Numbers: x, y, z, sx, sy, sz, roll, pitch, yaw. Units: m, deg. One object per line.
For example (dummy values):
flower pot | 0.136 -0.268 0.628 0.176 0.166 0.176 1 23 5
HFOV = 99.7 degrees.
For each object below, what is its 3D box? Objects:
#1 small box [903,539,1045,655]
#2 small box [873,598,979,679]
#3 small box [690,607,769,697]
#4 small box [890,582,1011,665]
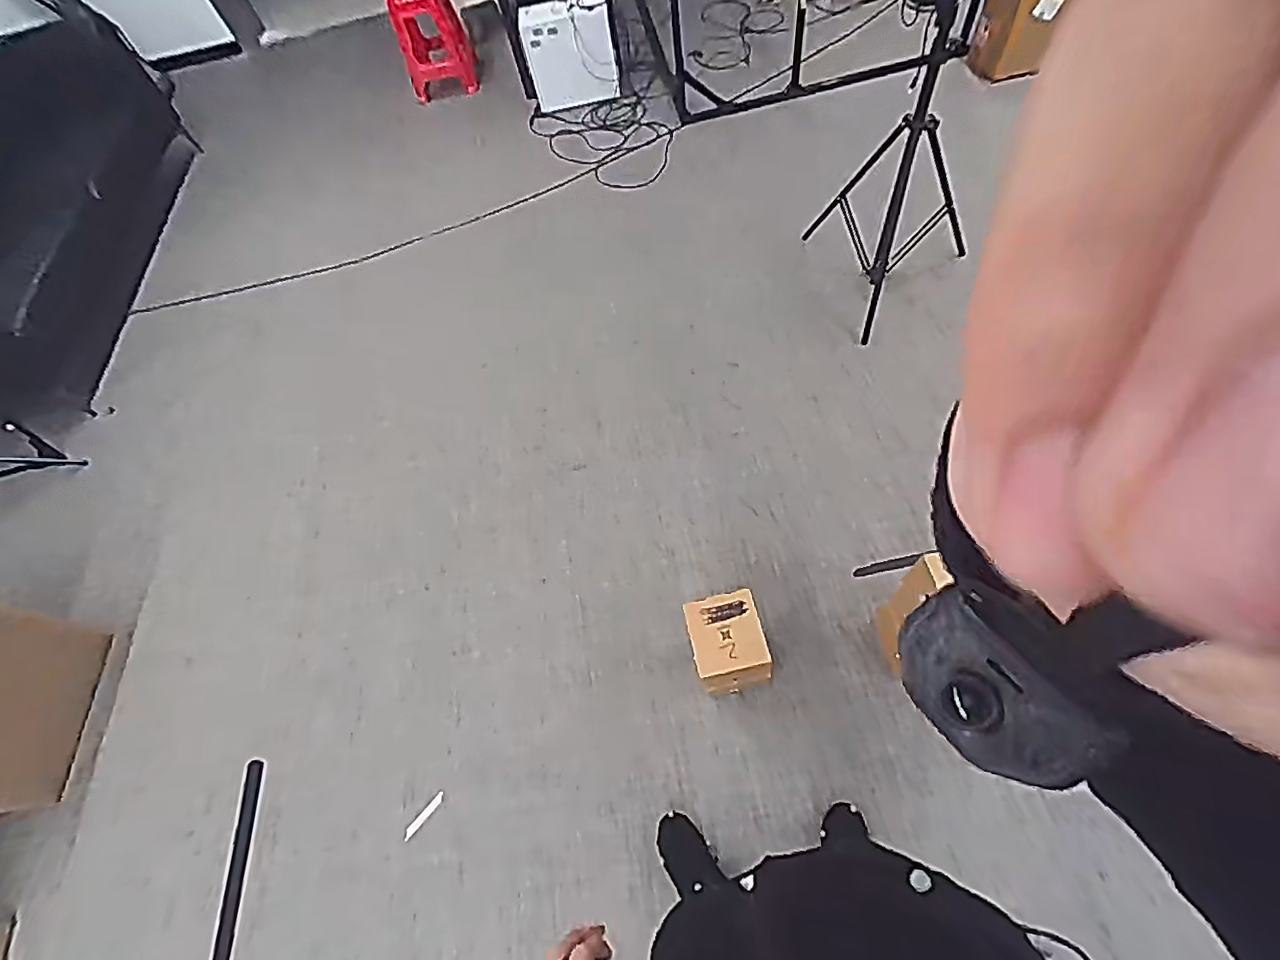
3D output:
small box | 0.667 0.245 1.110 0.168 0.176 0.179 -11 60 4
small box | 0.724 0.402 1.393 0.168 0.176 0.179 -10 61 4
small box | 0.237 0.463 1.445 0.168 0.176 0.179 -15 60 3
small box | 0.706 0.321 1.251 0.168 0.176 0.179 -11 60 3
